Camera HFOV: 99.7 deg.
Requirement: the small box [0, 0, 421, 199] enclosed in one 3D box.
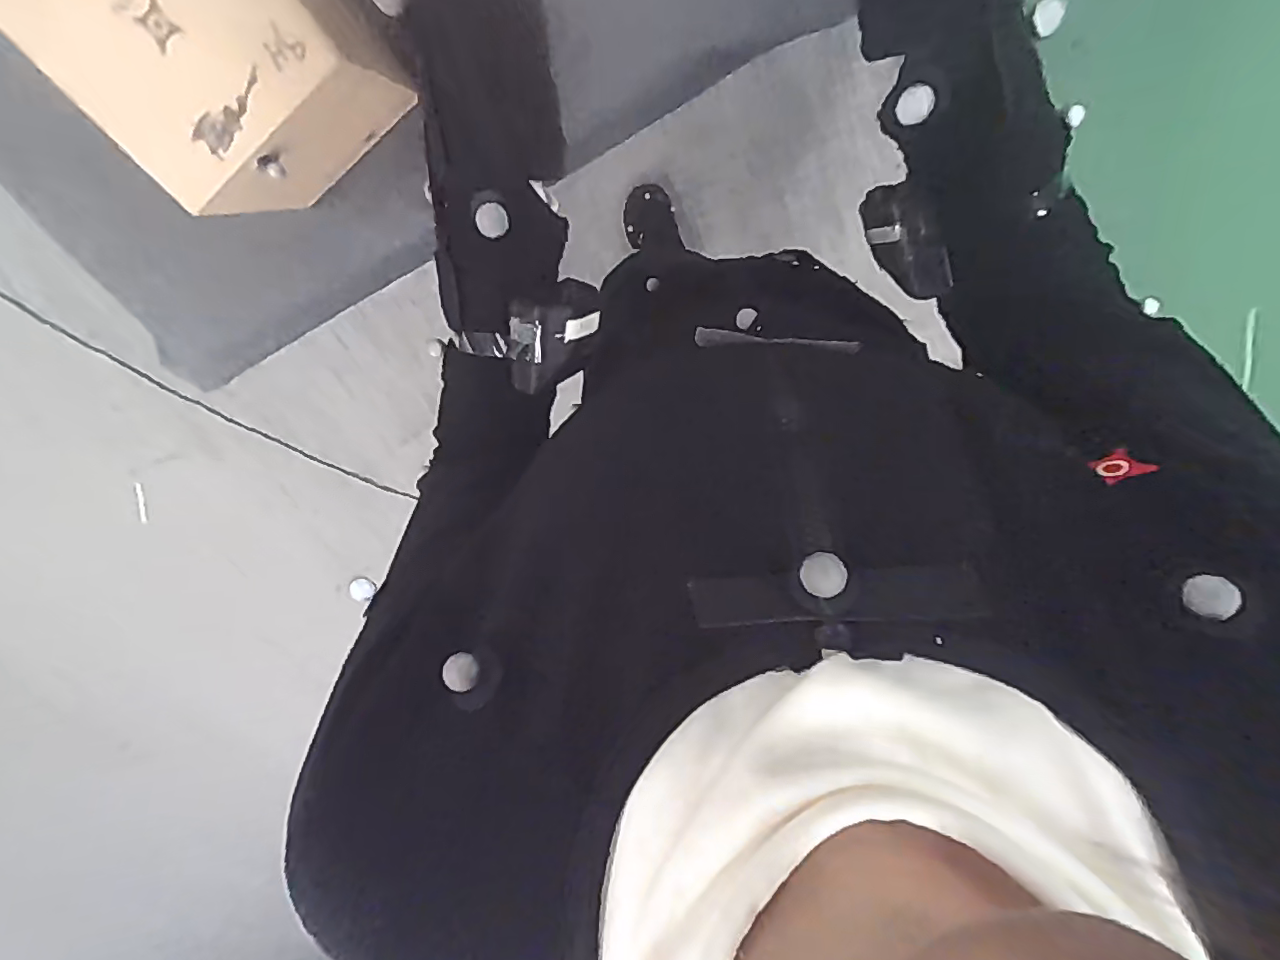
[{"bbox_3d":[-0.308,-0.343,0.414,0.168,0.176,0.179,-32,114,16],"label":"small box"}]
